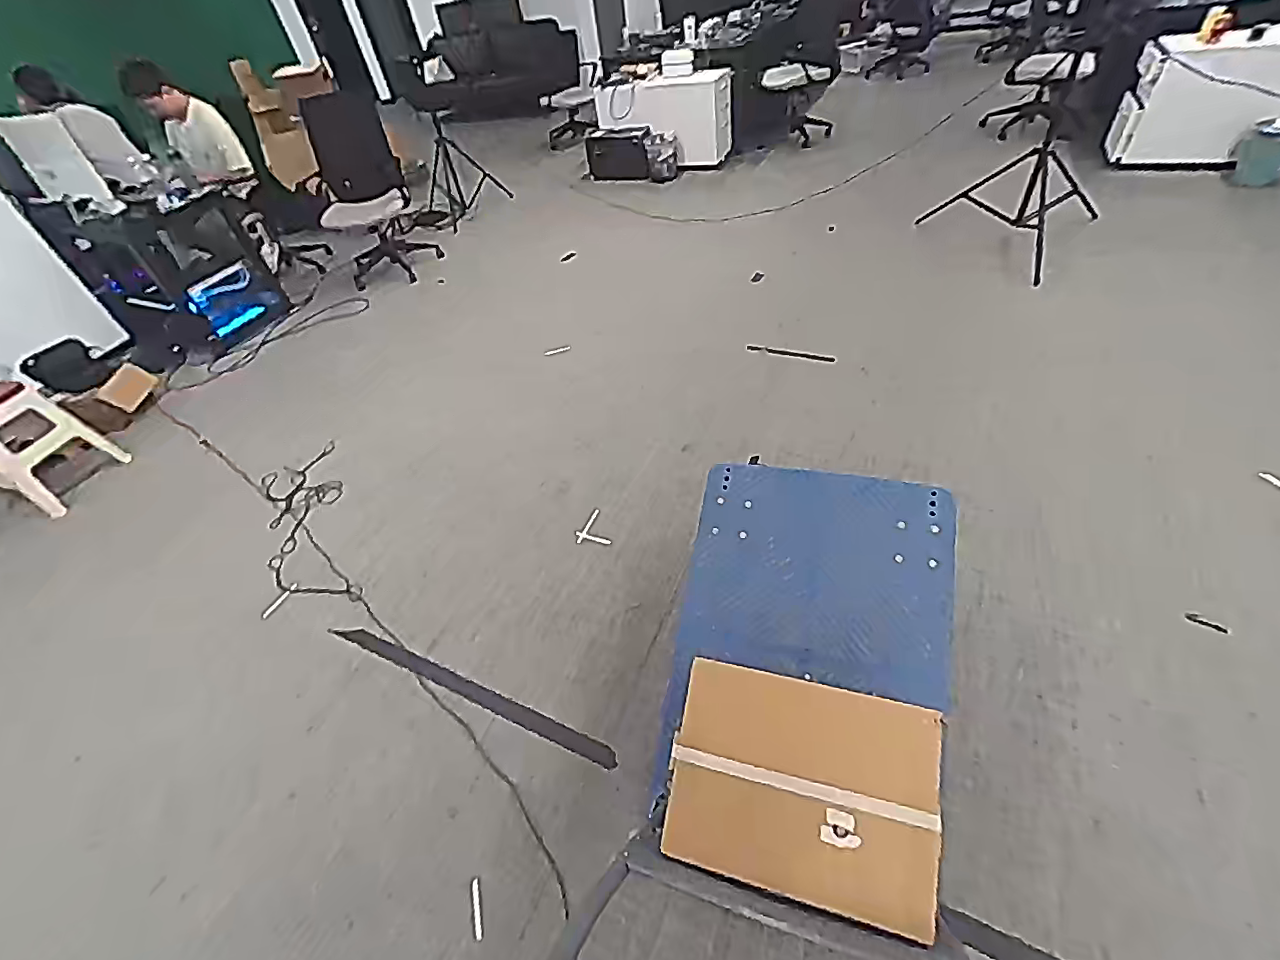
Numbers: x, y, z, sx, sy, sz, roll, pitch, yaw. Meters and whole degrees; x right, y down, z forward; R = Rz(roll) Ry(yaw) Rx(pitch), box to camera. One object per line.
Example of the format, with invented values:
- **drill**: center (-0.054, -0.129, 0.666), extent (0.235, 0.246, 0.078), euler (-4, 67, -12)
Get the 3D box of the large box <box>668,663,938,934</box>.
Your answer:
- **large box**: center (0.293, 0.546, 1.012), extent (0.408, 0.320, 0.320), euler (7, 72, 17)
